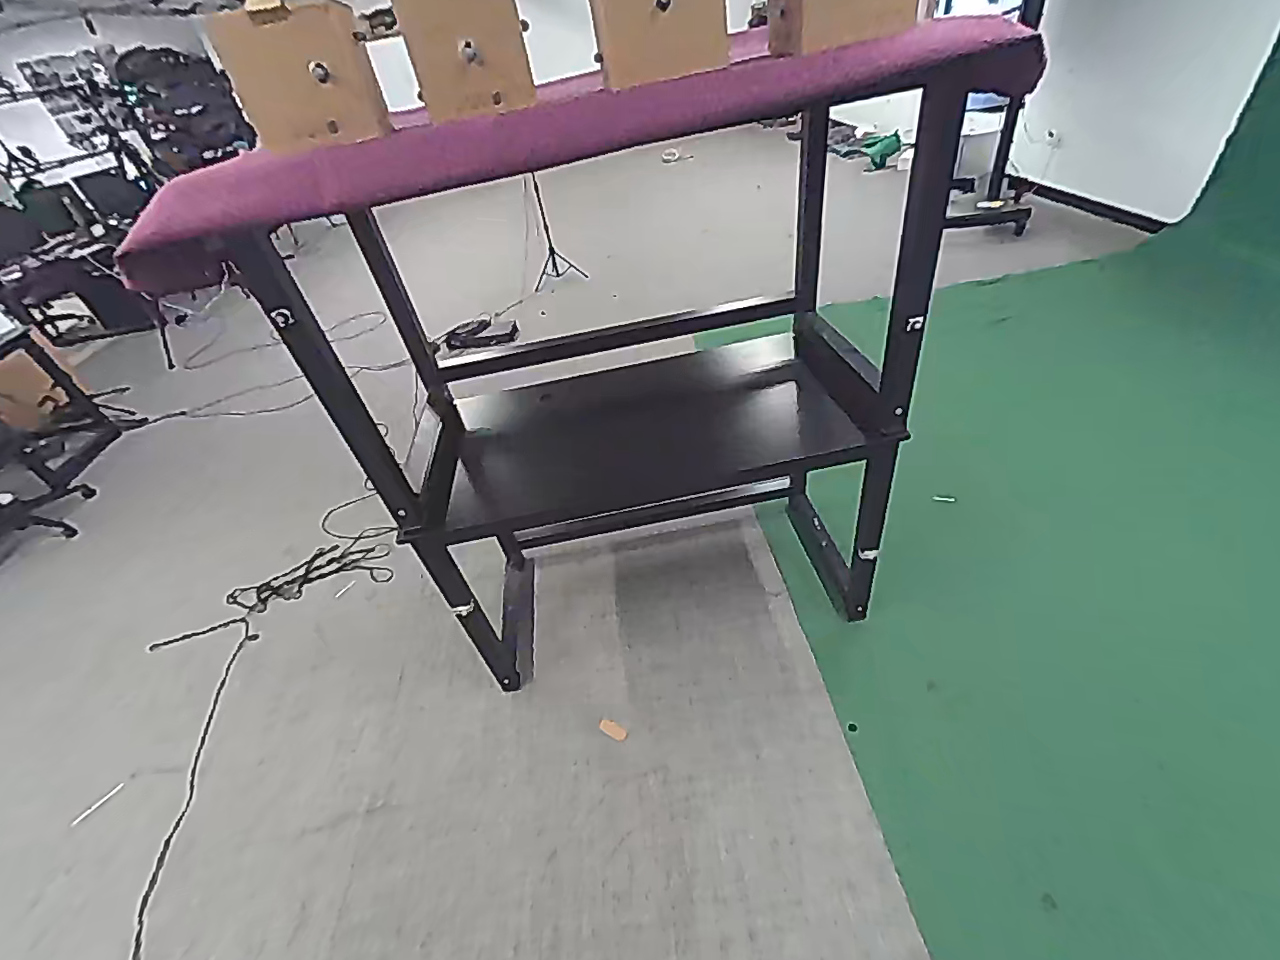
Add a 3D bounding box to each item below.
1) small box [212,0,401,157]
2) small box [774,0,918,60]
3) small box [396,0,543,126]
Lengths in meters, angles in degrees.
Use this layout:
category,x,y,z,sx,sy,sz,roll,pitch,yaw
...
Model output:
category,x,y,z,sx,sy,sz,roll,pitch,yaw
small box,-0.486,-0.606,0.823,0.168,0.176,0.179,-14,38,-5
small box,0.304,-0.751,0.804,0.179,0.176,0.168,-12,39,2
small box,-0.251,-0.660,0.831,0.168,0.176,0.179,-13,39,-3
